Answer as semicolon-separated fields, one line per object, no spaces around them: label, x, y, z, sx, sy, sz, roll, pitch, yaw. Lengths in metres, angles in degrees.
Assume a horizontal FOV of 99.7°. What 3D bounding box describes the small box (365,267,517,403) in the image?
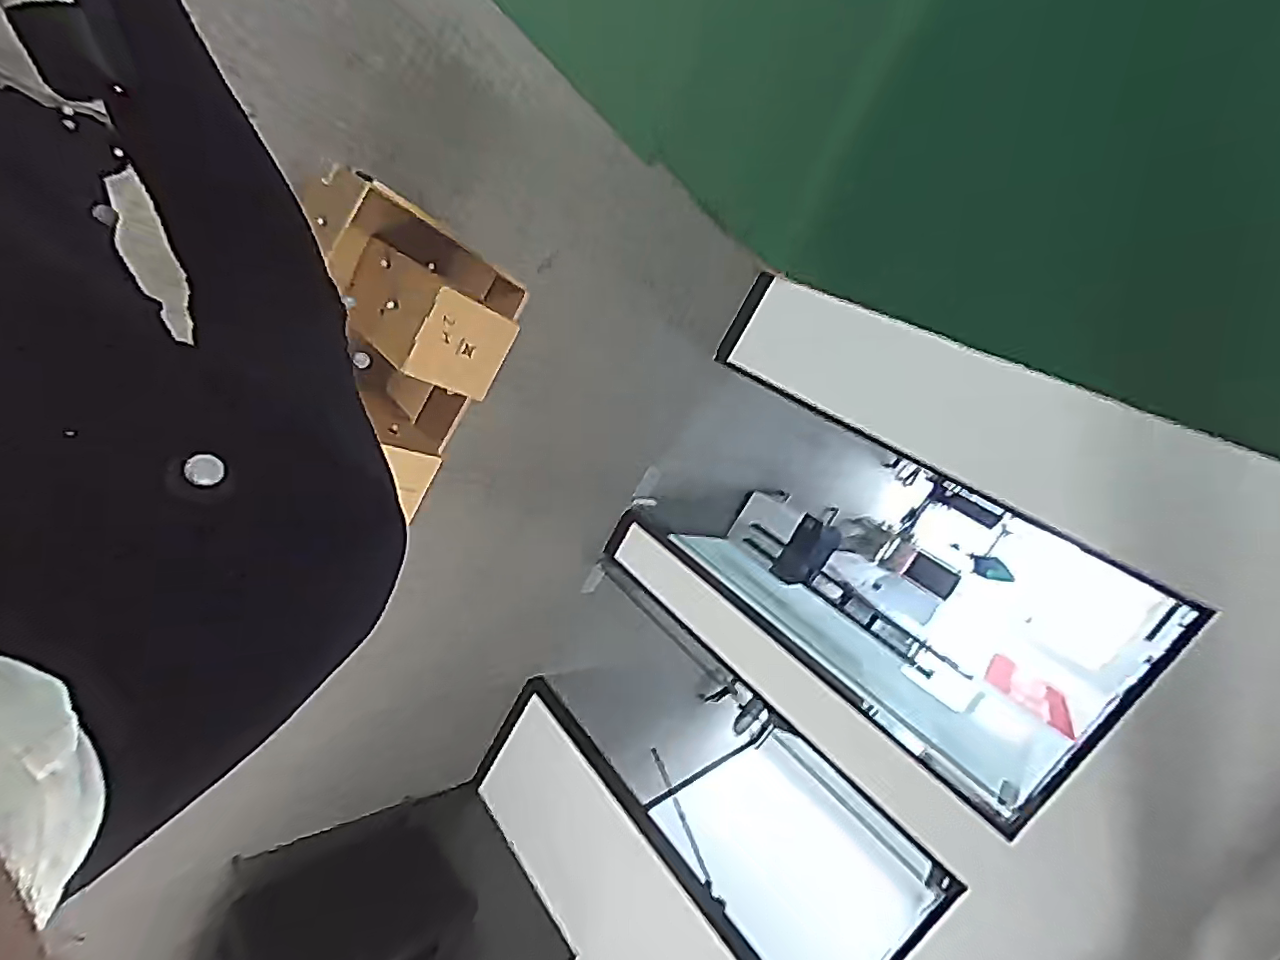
small box;-0.372;-0.271;1.011;0.179;0.176;0.168;18;106;-54

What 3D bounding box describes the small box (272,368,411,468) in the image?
small box;-0.632;-0.112;1.145;0.168;0.176;0.179;-57;145;6

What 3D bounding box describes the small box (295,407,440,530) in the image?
small box;-0.532;-0.024;1.048;0.179;0.176;0.168;17;107;-54
